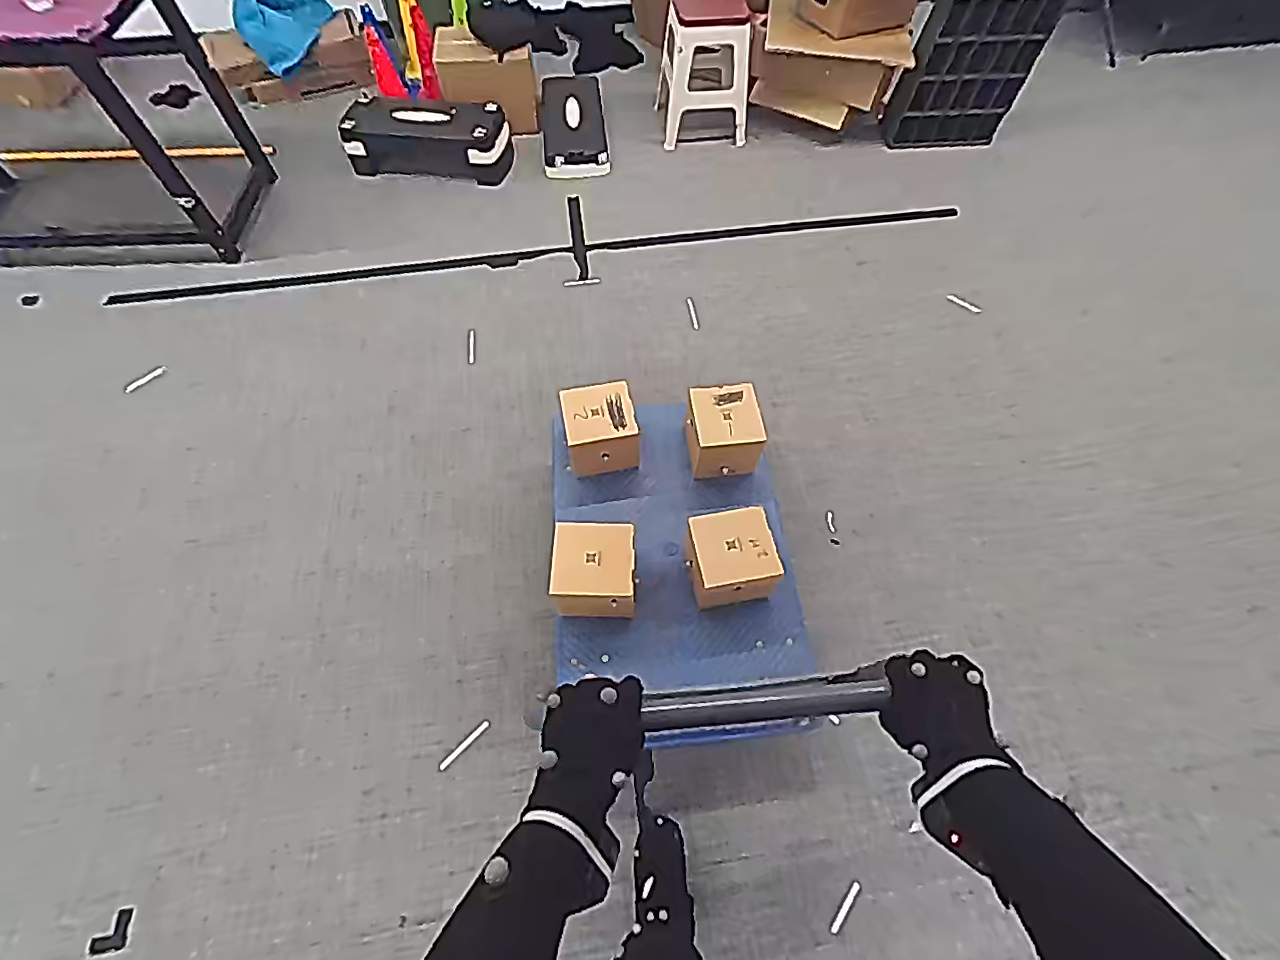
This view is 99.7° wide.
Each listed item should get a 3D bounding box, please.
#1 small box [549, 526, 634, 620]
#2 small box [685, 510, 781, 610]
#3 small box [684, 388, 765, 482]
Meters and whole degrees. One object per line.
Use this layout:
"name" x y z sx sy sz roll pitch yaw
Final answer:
"small box" -0.103 0.215 1.228 0.179 0.176 0.168 1 61 -1
"small box" 0.203 0.189 1.243 0.179 0.176 0.168 -9 62 -5
"small box" 0.212 -0.115 1.407 0.168 0.176 0.179 -6 63 -3
